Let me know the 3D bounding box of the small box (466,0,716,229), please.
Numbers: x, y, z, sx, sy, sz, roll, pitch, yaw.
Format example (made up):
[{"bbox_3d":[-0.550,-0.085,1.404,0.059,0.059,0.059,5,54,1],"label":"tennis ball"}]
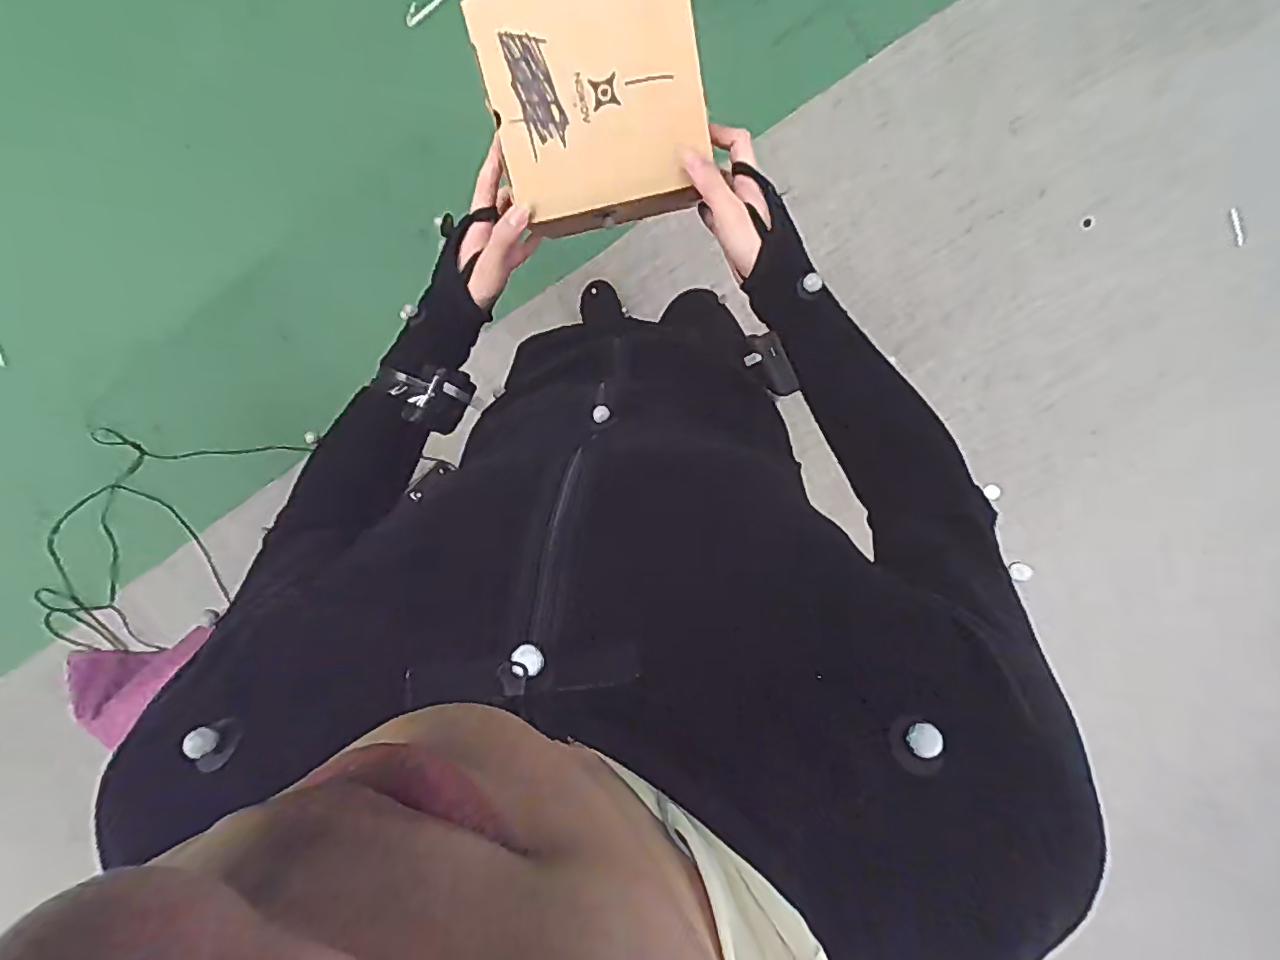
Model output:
[{"bbox_3d":[-0.033,-0.345,0.507,0.179,0.176,0.168,-11,110,5],"label":"small box"}]
